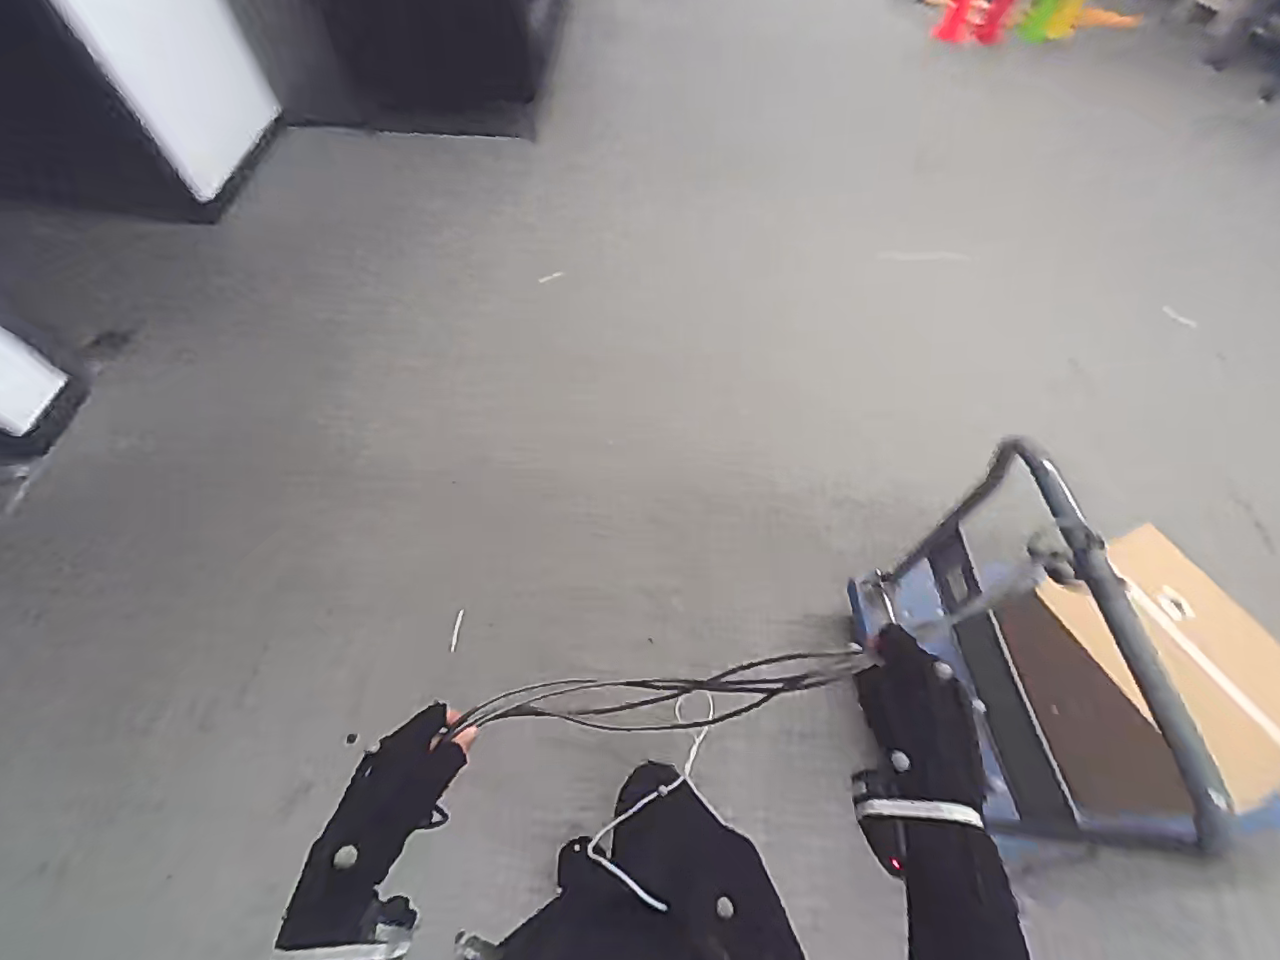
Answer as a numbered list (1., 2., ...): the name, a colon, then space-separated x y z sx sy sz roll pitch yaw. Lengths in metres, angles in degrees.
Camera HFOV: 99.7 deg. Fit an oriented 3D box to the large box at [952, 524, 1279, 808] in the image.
1. large box: 0.944 0.372 1.081 0.320 0.320 0.408 -22 61 -13
